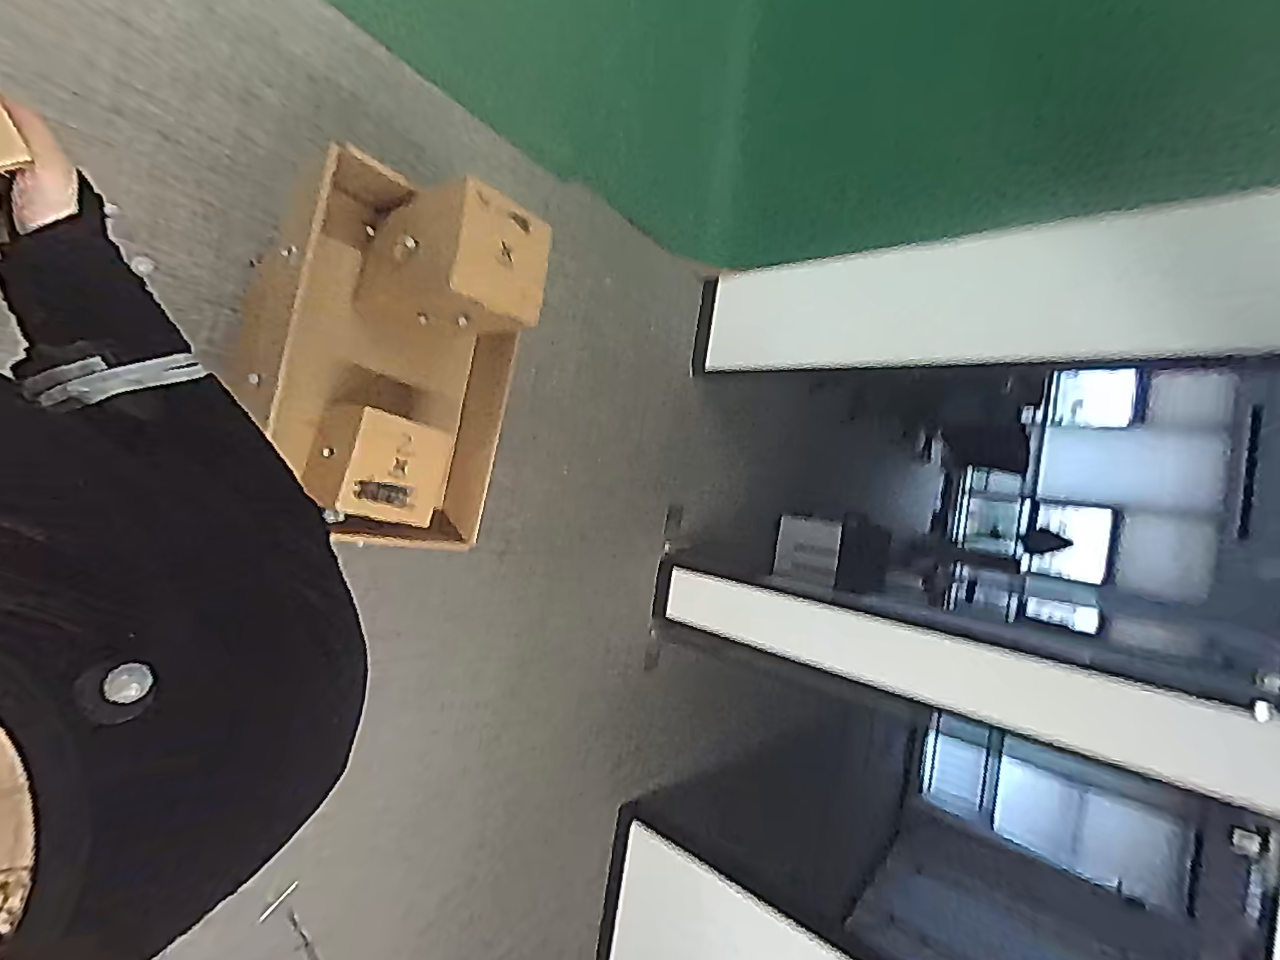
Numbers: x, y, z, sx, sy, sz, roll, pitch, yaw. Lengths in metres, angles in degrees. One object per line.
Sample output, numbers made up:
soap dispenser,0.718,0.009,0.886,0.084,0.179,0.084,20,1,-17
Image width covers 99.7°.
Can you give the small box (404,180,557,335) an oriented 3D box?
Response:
small box,-0.267,-0.351,0.898,0.168,0.176,0.179,13,87,-50
